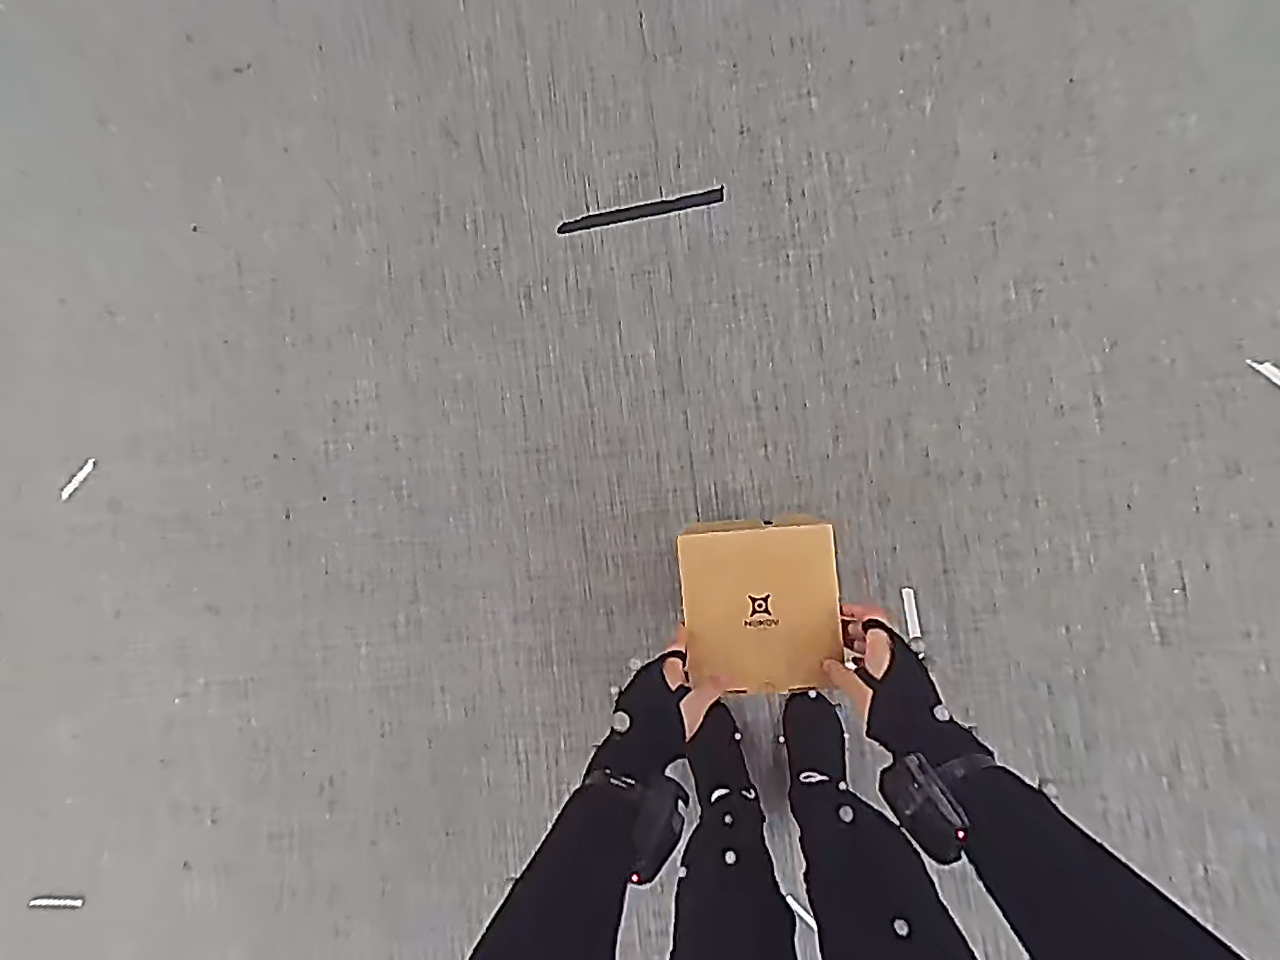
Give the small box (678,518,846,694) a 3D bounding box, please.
[{"bbox_3d":[0.137,0.139,0.655,0.168,0.176,0.179,-6,89,8],"label":"small box"}]
